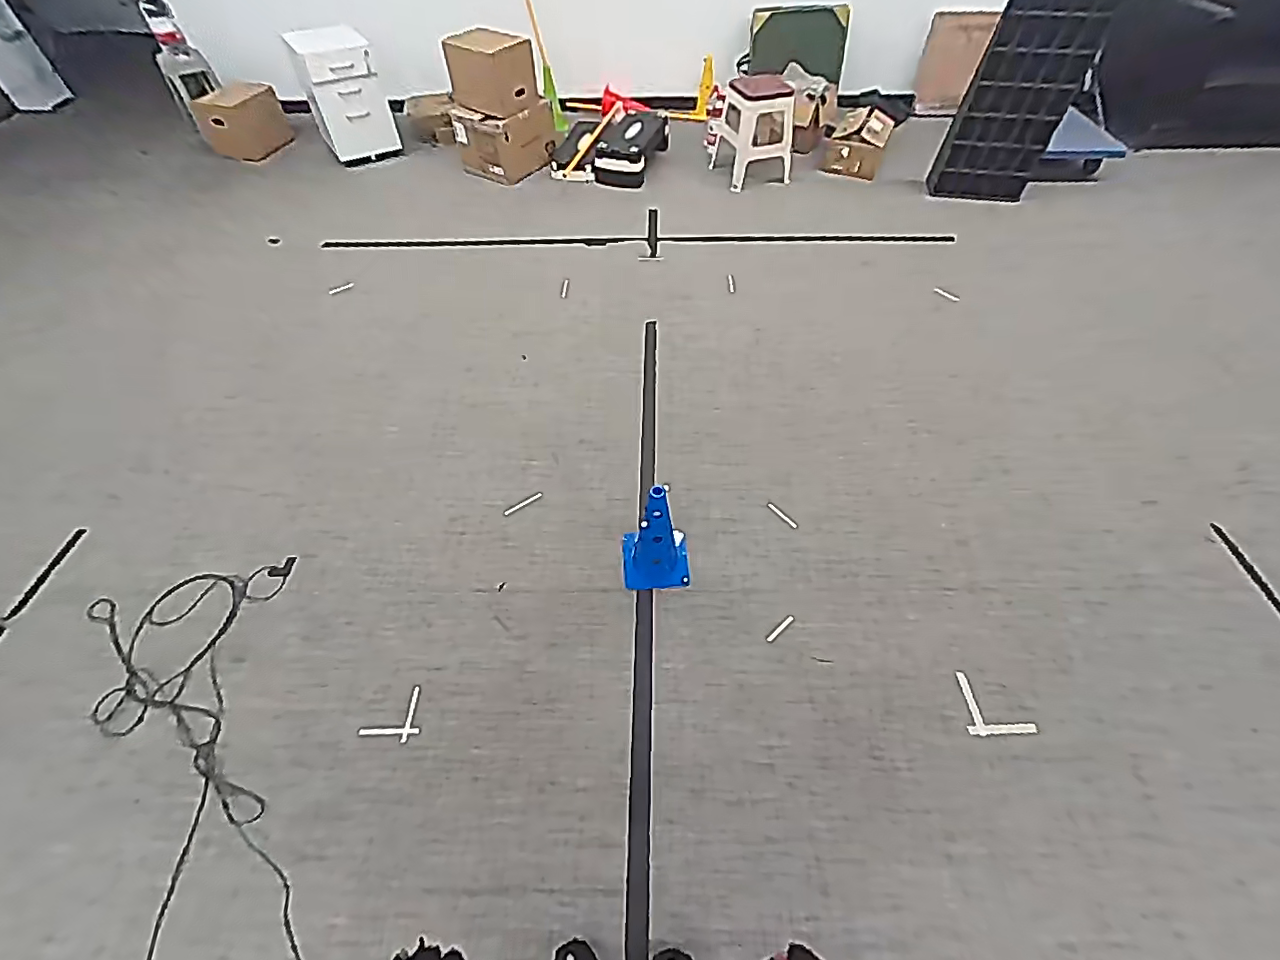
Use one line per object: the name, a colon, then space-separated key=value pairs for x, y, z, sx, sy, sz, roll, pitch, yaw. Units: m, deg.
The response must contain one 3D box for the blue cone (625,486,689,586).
blue cone: x=0.053 y=0.143 z=1.551 sx=0.192 sy=0.380 sz=0.193 roll=-1 pitch=52 yaw=-2
